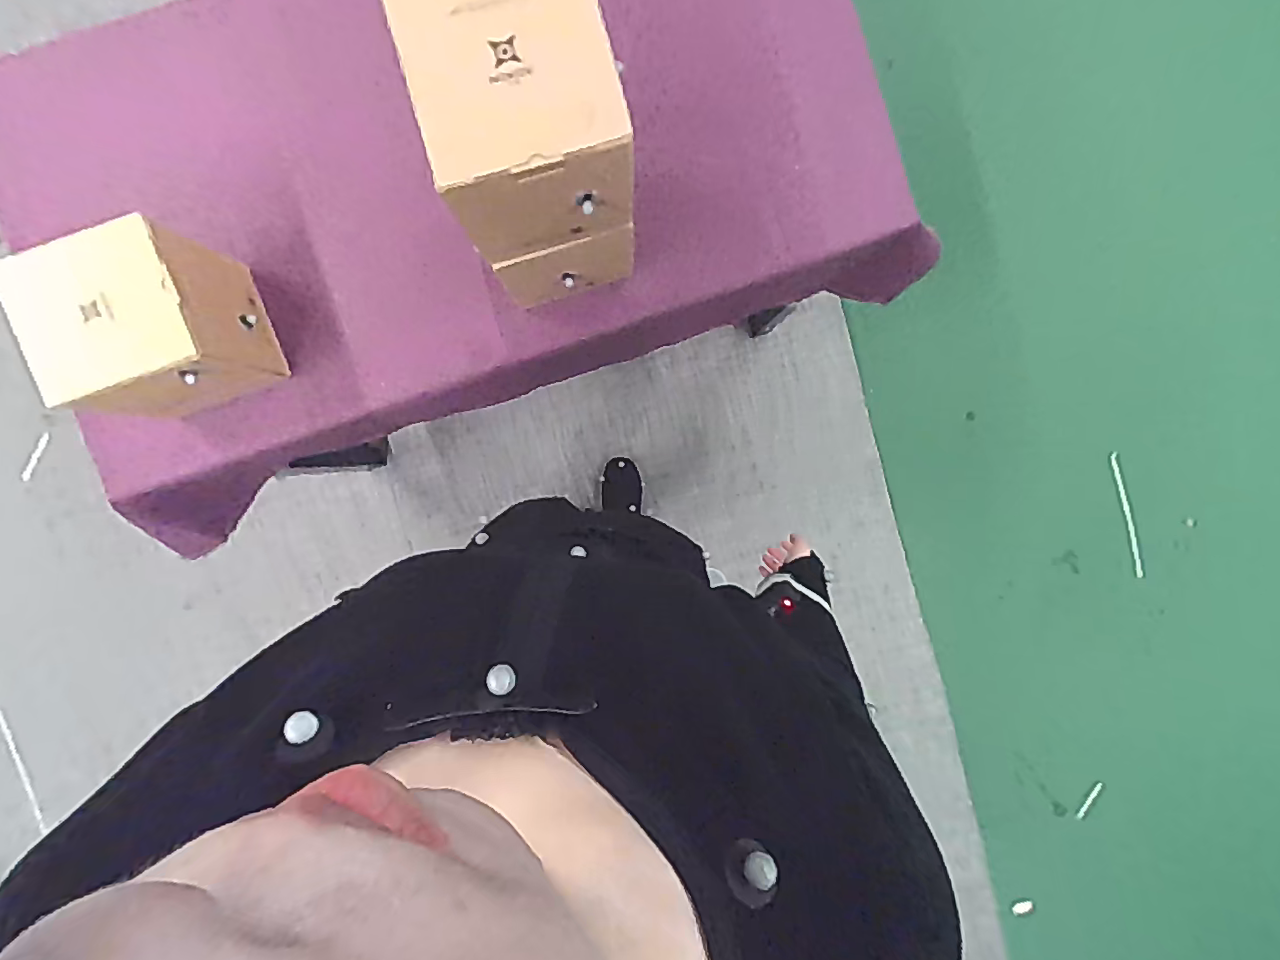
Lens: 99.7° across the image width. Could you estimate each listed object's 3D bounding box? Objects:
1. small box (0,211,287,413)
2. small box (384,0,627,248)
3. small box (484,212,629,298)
[{"bbox_3d":[-0.593,-0.191,0.670,0.179,0.176,0.168,-21,92,-2],"label":"small box"},{"bbox_3d":[-0.110,-0.342,0.512,0.168,0.176,0.179,-15,92,-1],"label":"small box"},{"bbox_3d":[-0.113,-0.344,0.676,0.168,0.176,0.179,-17,92,-1],"label":"small box"}]
